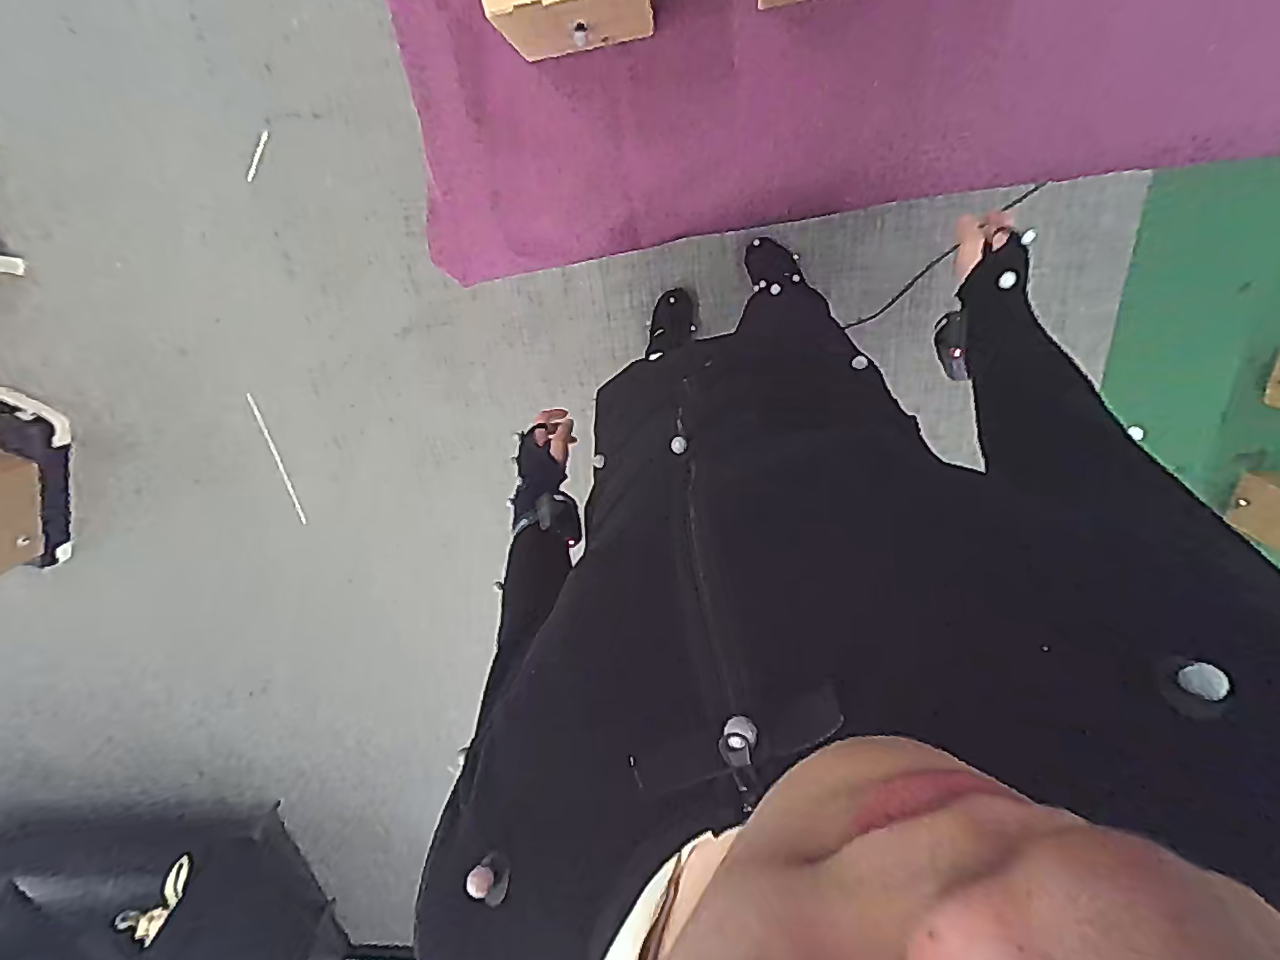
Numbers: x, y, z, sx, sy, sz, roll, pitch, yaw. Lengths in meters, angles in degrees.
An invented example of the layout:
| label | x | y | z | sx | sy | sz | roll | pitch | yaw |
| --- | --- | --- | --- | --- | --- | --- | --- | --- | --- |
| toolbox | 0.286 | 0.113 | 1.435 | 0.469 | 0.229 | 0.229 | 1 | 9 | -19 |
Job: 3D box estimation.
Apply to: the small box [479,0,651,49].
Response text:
| label | x | y | z | sx | sy | sz | roll | pitch | yaw |
| --- | --- | --- | --- | --- | --- | --- | --- | --- | --- |
| small box | -0.083 | -0.583 | 0.564 | 0.168 | 0.176 | 0.179 | -6 | 115 | 8 |

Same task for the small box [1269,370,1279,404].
| label | x | y | z | sx | sy | sz | roll | pitch | yaw |
| --- | --- | --- | --- | --- | --- | --- | --- | --- | --- |
| small box | 1.741 | -0.257 | 1.332 | 0.179 | 0.176 | 0.168 | -6 | 113 | 7 |
